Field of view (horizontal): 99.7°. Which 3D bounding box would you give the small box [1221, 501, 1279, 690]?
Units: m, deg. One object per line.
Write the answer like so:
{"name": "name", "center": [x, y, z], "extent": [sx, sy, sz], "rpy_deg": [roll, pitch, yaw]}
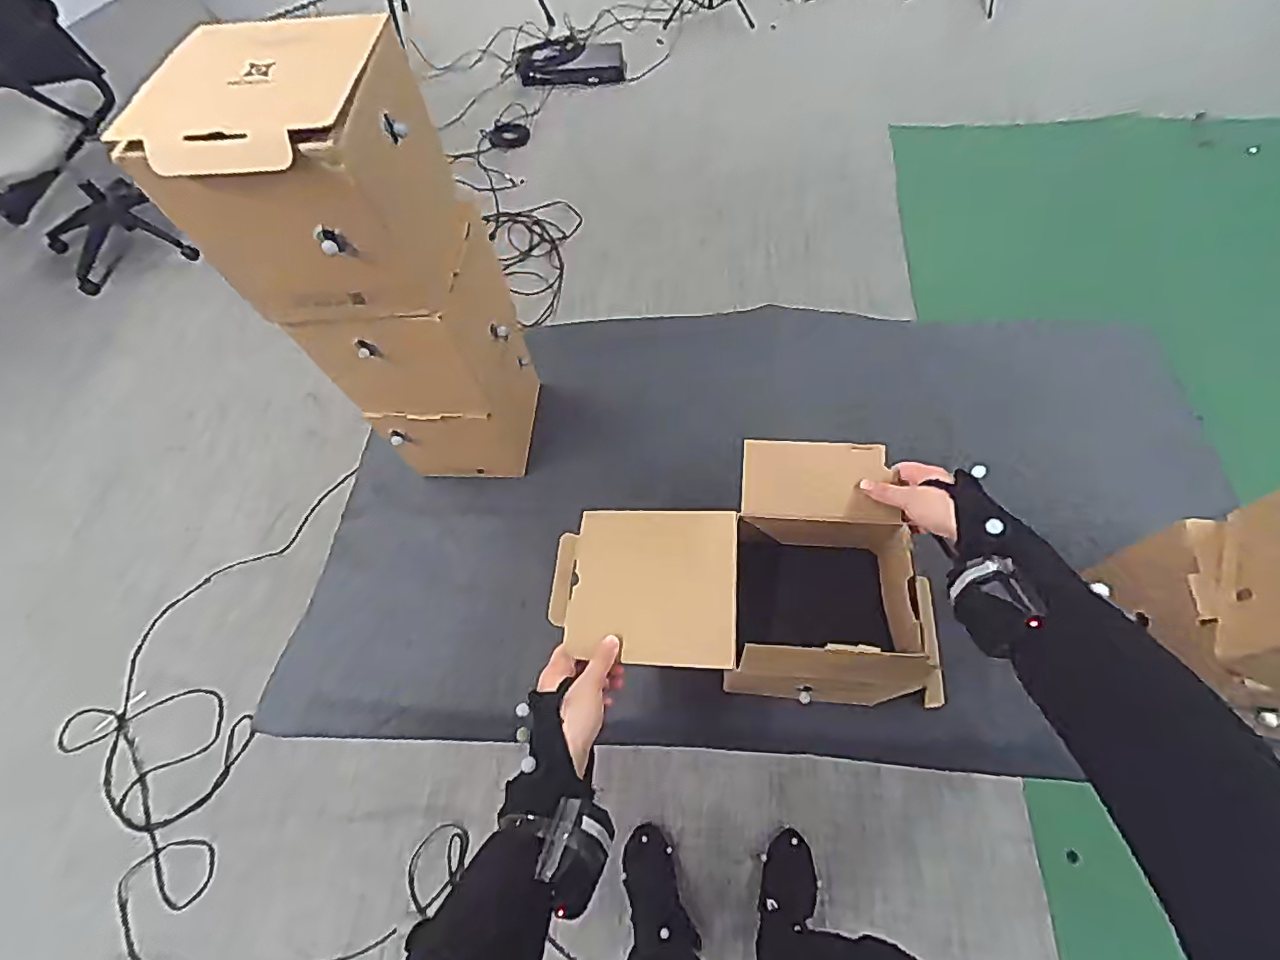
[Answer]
{"name": "small box", "center": [0.602, 0.093, 0.401], "extent": [0.179, 0.176, 0.168], "rpy_deg": [26, 66, 17]}

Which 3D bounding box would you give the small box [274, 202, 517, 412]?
{"name": "small box", "center": [-0.261, -0.191, 0.624], "extent": [0.179, 0.176, 0.168], "rpy_deg": [2, 65, 5]}

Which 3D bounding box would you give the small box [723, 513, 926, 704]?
{"name": "small box", "center": [0.187, 0.148, 0.600], "extent": [0.179, 0.176, 0.168], "rpy_deg": [3, 63, 8]}

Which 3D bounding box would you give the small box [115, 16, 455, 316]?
{"name": "small box", "center": [-0.280, -0.262, 0.479], "extent": [0.168, 0.176, 0.179], "rpy_deg": [-2, 63, 3]}

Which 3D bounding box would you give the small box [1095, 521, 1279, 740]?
{"name": "small box", "center": [0.613, 0.158, 0.551], "extent": [0.179, 0.176, 0.168], "rpy_deg": [6, 61, 9]}
